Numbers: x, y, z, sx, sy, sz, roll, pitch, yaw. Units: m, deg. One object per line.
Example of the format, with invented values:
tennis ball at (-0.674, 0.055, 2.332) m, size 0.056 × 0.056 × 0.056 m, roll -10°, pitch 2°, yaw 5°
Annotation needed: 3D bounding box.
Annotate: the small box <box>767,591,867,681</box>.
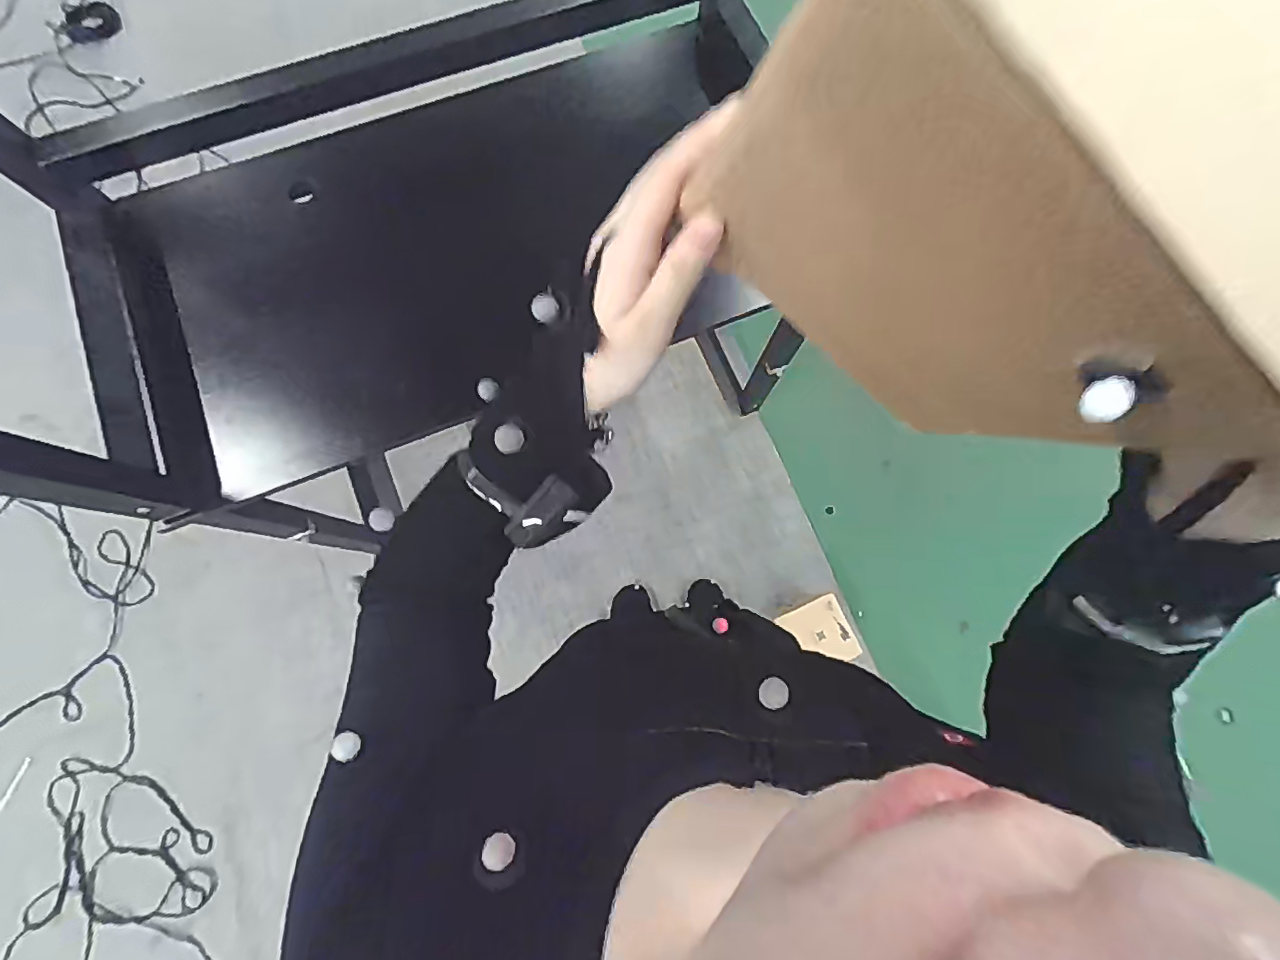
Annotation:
small box at (0.445, 0.400, 1.402) m, size 0.179 × 0.176 × 0.168 m, roll -23°, pitch 78°, yaw -5°
